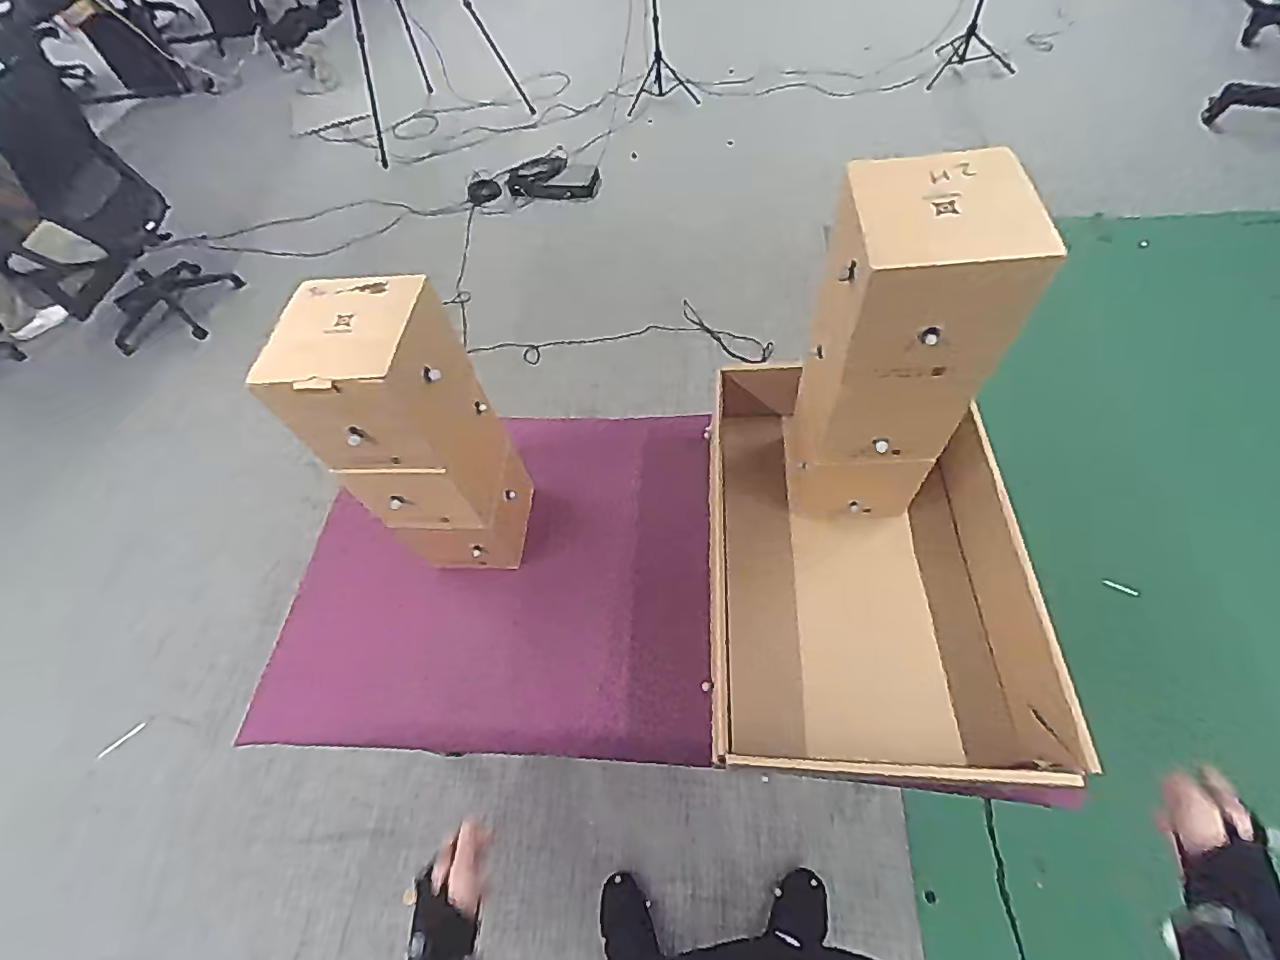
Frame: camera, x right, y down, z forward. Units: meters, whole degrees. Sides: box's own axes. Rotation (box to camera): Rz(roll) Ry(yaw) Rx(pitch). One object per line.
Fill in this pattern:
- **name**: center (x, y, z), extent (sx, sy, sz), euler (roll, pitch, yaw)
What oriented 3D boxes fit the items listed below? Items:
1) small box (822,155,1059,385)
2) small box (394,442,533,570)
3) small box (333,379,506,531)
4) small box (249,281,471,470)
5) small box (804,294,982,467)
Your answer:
- **small box**: center (0.304, -0.218, 0.594), extent (0.168, 0.176, 0.179), euler (-1, 59, 8)
- **small box**: center (-0.299, 0.051, 0.960), extent (0.168, 0.176, 0.179), euler (1, 57, 7)
- **small box**: center (-0.317, -0.032, 0.823), extent (0.168, 0.176, 0.179), euler (0, 57, 7)
- **small box**: center (-0.333, -0.125, 0.688), extent (0.168, 0.176, 0.179), euler (0, 58, 6)
- **small box**: center (0.324, -0.135, 0.736), extent (0.168, 0.176, 0.179), euler (-2, 59, 8)
